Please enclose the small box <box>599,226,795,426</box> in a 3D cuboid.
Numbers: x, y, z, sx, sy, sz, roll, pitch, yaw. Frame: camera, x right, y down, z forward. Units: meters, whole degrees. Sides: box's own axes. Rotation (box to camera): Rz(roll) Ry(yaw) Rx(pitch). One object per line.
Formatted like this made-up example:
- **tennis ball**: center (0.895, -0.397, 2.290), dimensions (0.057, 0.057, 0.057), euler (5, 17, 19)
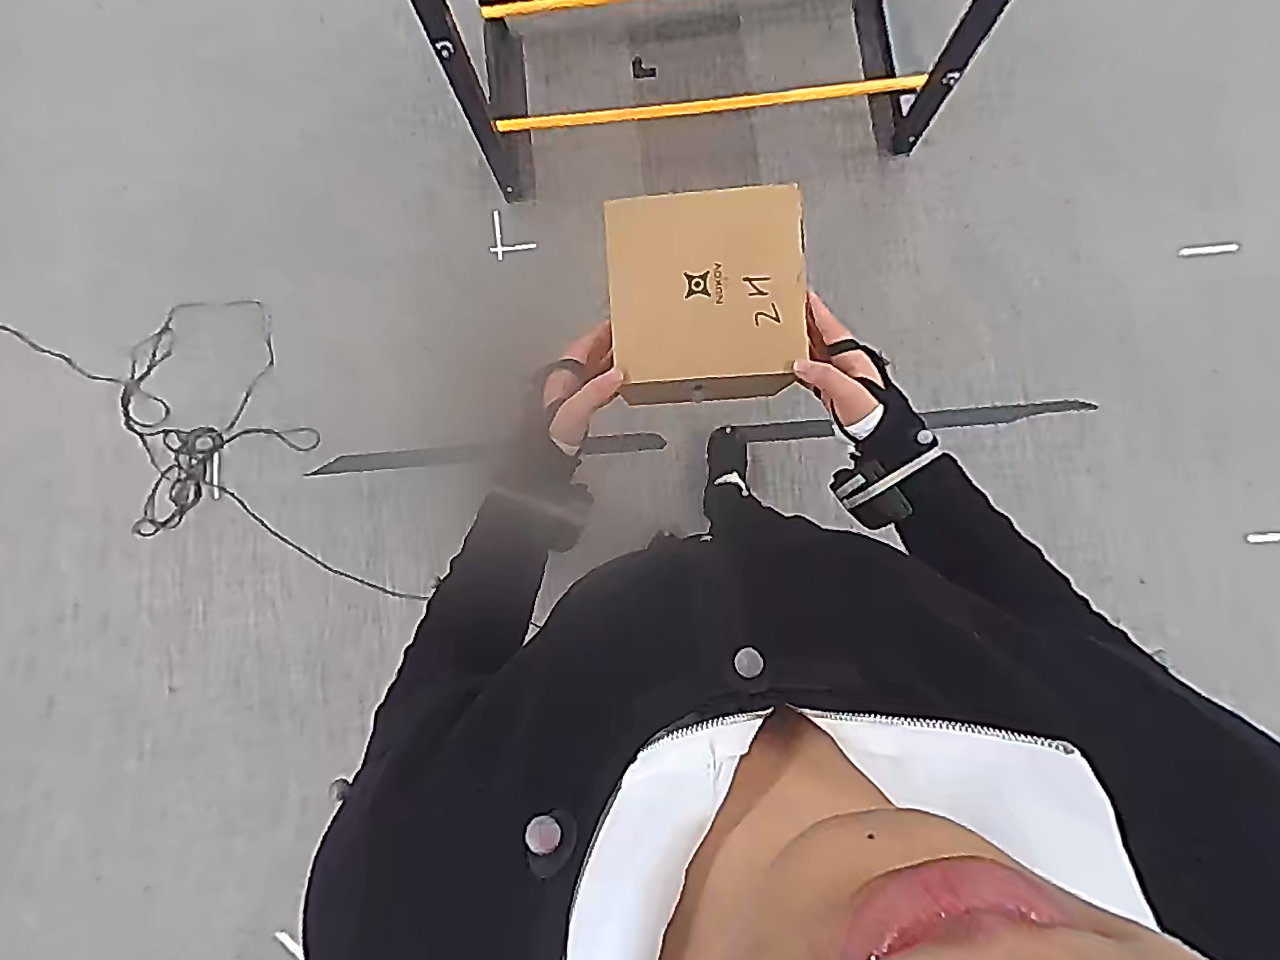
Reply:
- **small box**: center (0.057, -0.147, 0.575), dimensions (0.179, 0.176, 0.168), euler (-3, 92, 3)
